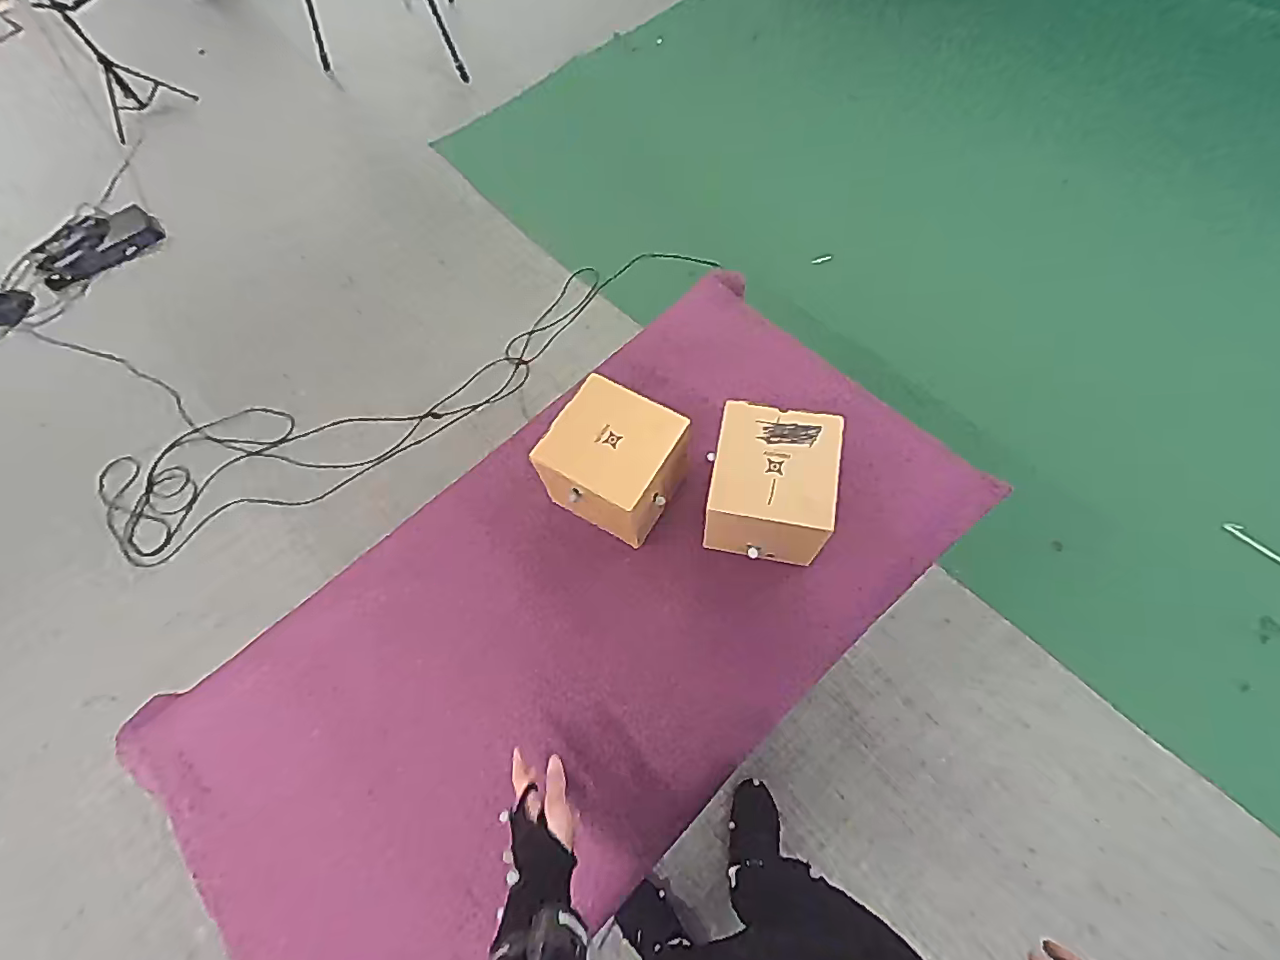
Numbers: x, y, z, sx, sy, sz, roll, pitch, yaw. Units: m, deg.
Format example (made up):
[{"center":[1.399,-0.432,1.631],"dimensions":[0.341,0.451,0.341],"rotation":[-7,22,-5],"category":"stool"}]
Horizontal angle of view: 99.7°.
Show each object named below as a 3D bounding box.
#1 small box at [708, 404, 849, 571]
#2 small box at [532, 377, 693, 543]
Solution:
[{"center":[0.196,0.016,0.795],"dimensions":[0.168,0.176,0.179],"rotation":[10,67,10],"category":"small box"},{"center":[-0.031,-0.020,0.834],"dimensions":[0.179,0.176,0.168],"rotation":[28,71,17],"category":"small box"}]
